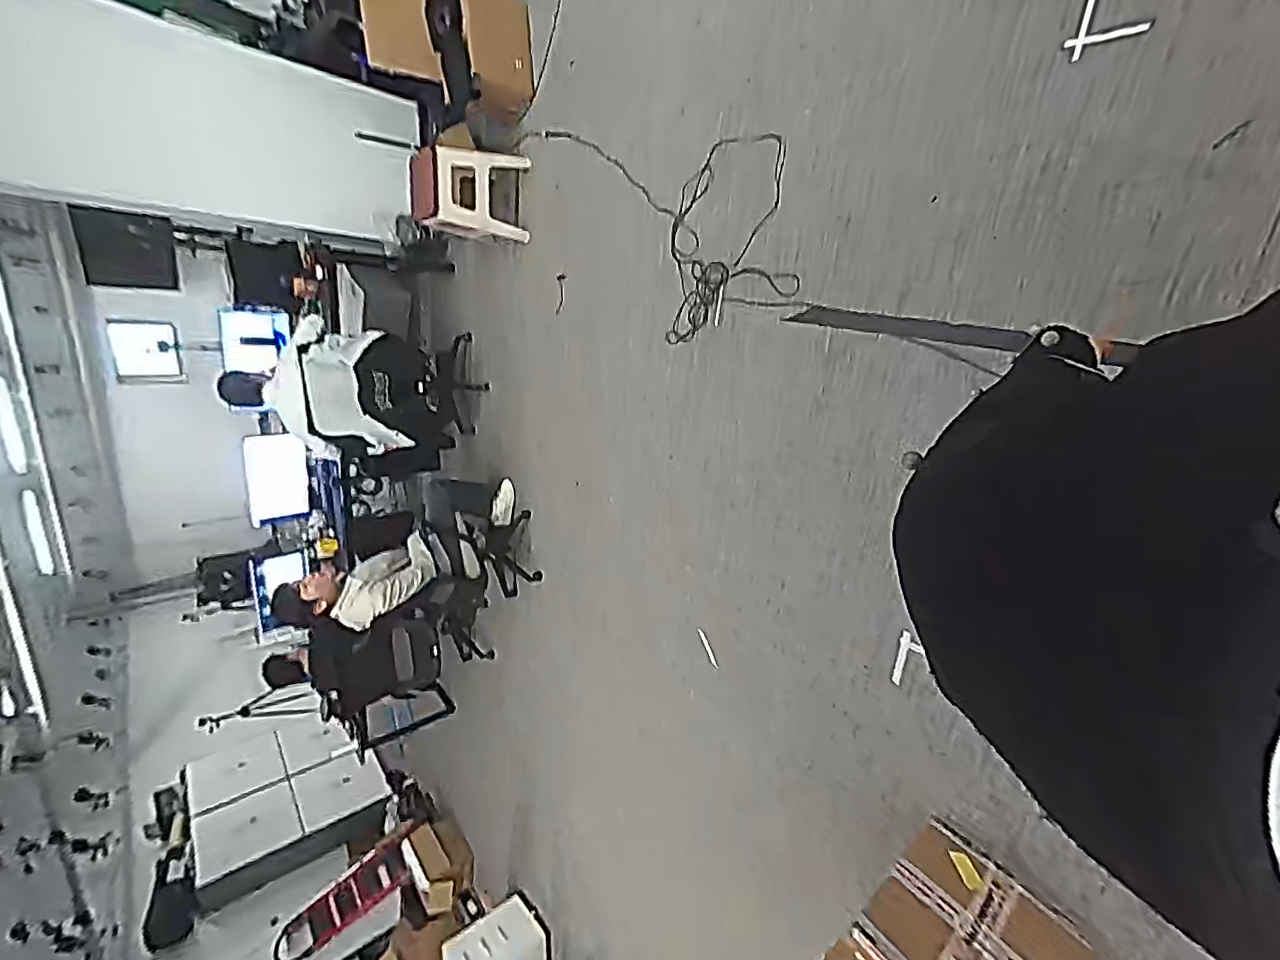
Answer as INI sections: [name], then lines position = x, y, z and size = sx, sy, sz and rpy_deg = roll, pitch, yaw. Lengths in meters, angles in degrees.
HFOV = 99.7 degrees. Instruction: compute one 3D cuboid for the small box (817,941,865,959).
[small box]
position = 0.470, 1.222, 1.245
size = 0.179, 0.176, 0.168
rpy_deg = 30, 119, 43
